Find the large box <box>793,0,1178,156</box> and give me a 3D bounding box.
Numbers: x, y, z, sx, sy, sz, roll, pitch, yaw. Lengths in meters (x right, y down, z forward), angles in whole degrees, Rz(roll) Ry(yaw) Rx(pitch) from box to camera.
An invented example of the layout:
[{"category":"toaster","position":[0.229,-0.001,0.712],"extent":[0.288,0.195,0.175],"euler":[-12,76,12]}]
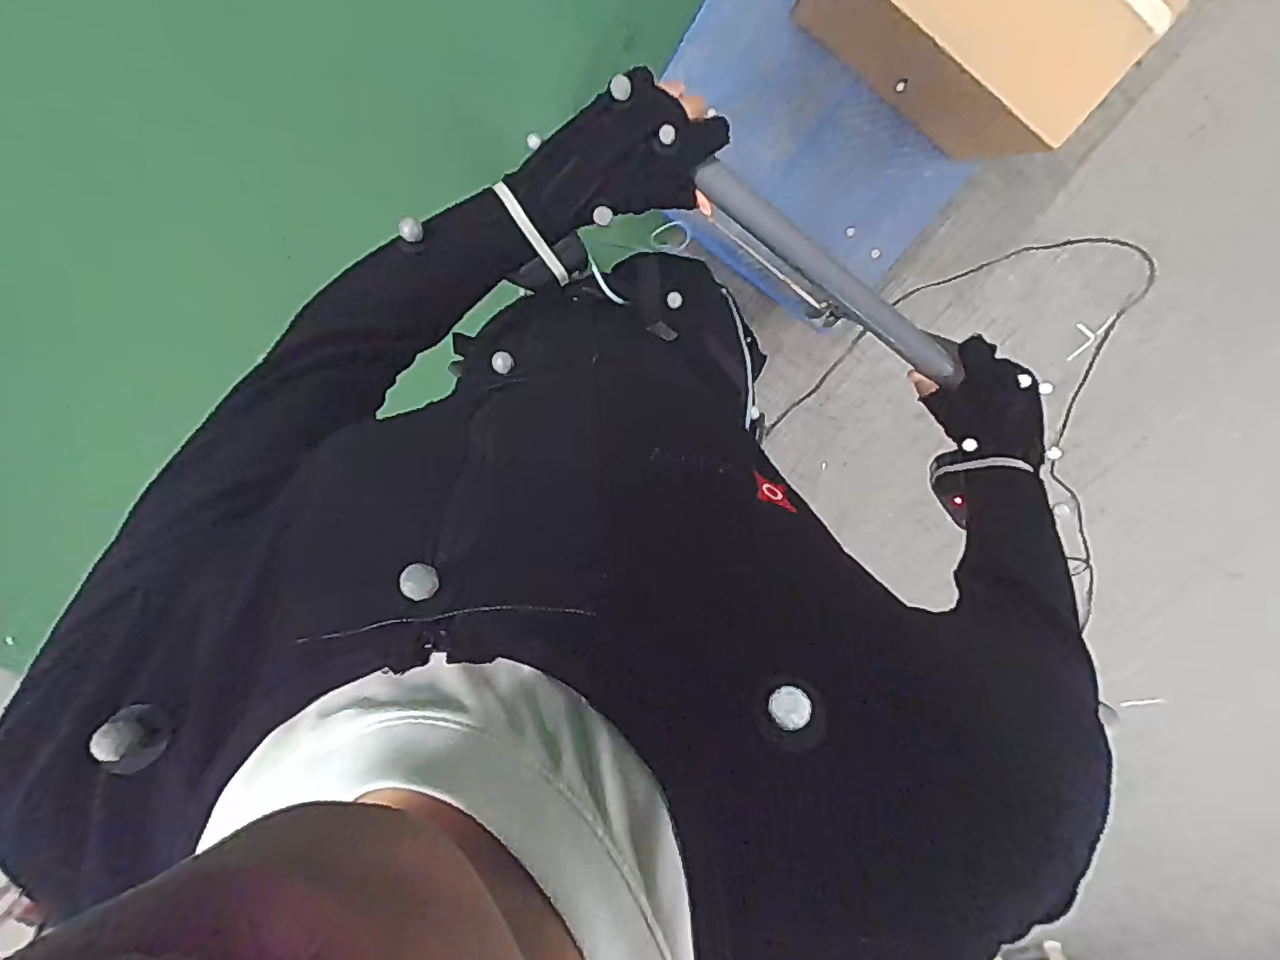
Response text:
[{"category":"large box","position":[0.493,-0.736,0.778],"extent":[0.408,0.320,0.320],"euler":[32,116,-11]}]
